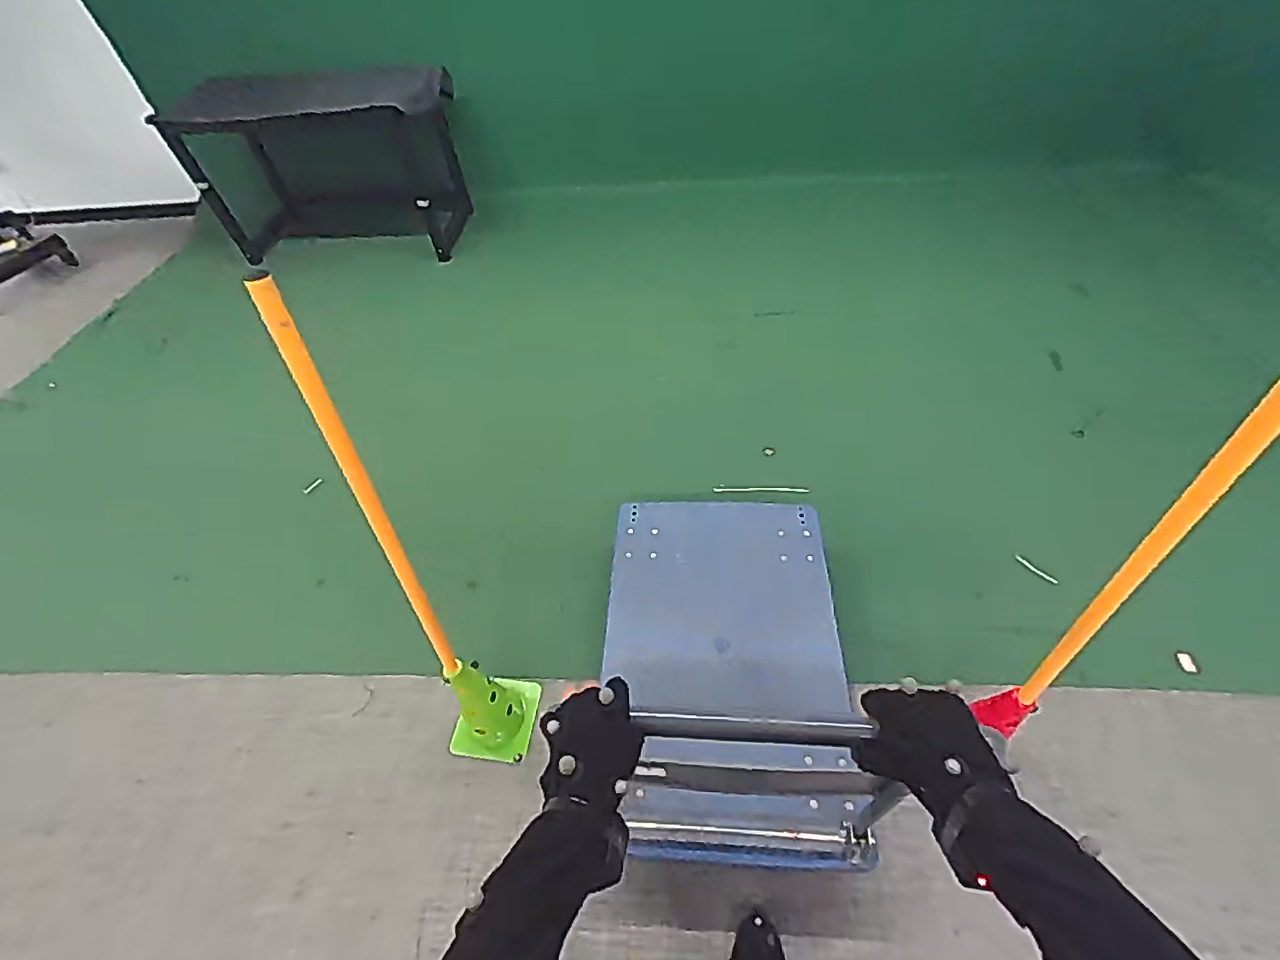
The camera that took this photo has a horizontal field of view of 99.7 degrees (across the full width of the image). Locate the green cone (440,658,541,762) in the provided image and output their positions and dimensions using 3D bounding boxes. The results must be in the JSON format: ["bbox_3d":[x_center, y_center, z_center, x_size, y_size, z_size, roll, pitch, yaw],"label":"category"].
[{"bbox_3d":[-0.388,0.512,1.290,0.202,0.368,0.200,3,50,8],"label":"green cone"}]
